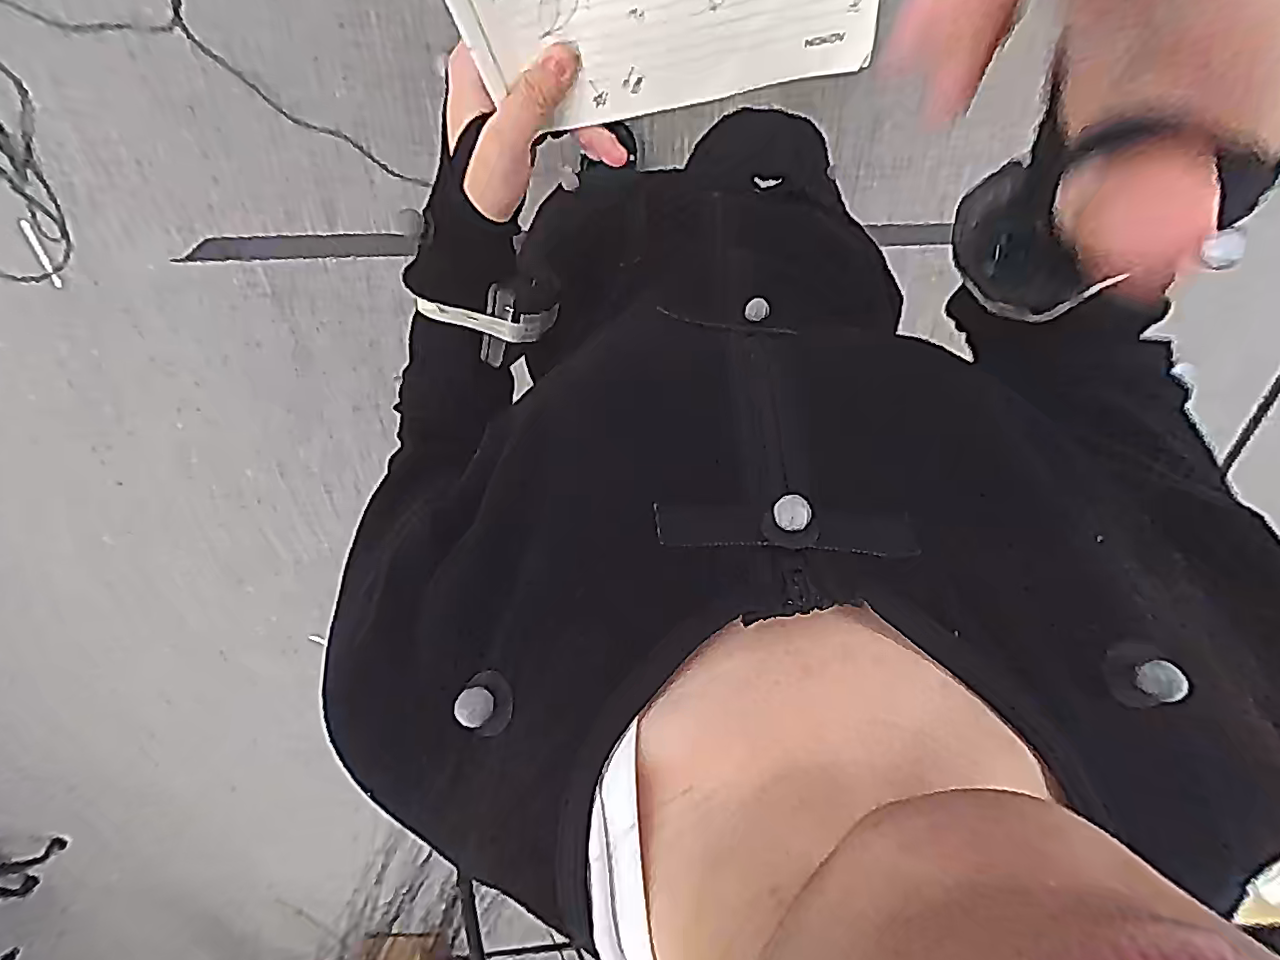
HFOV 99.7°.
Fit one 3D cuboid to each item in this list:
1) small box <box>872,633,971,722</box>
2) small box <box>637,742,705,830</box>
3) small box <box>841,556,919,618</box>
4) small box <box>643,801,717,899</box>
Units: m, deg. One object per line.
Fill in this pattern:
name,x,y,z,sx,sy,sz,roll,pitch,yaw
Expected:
small box,0.846,0.596,1.642,0.168,0.176,0.179,32,117,-23
small box,0.084,0.900,1.596,0.179,0.176,0.168,-2,124,-6
small box,0.837,0.406,1.909,0.168,0.176,0.179,37,114,-25
small box,0.101,1.001,1.467,0.168,0.176,0.179,0,124,-7
